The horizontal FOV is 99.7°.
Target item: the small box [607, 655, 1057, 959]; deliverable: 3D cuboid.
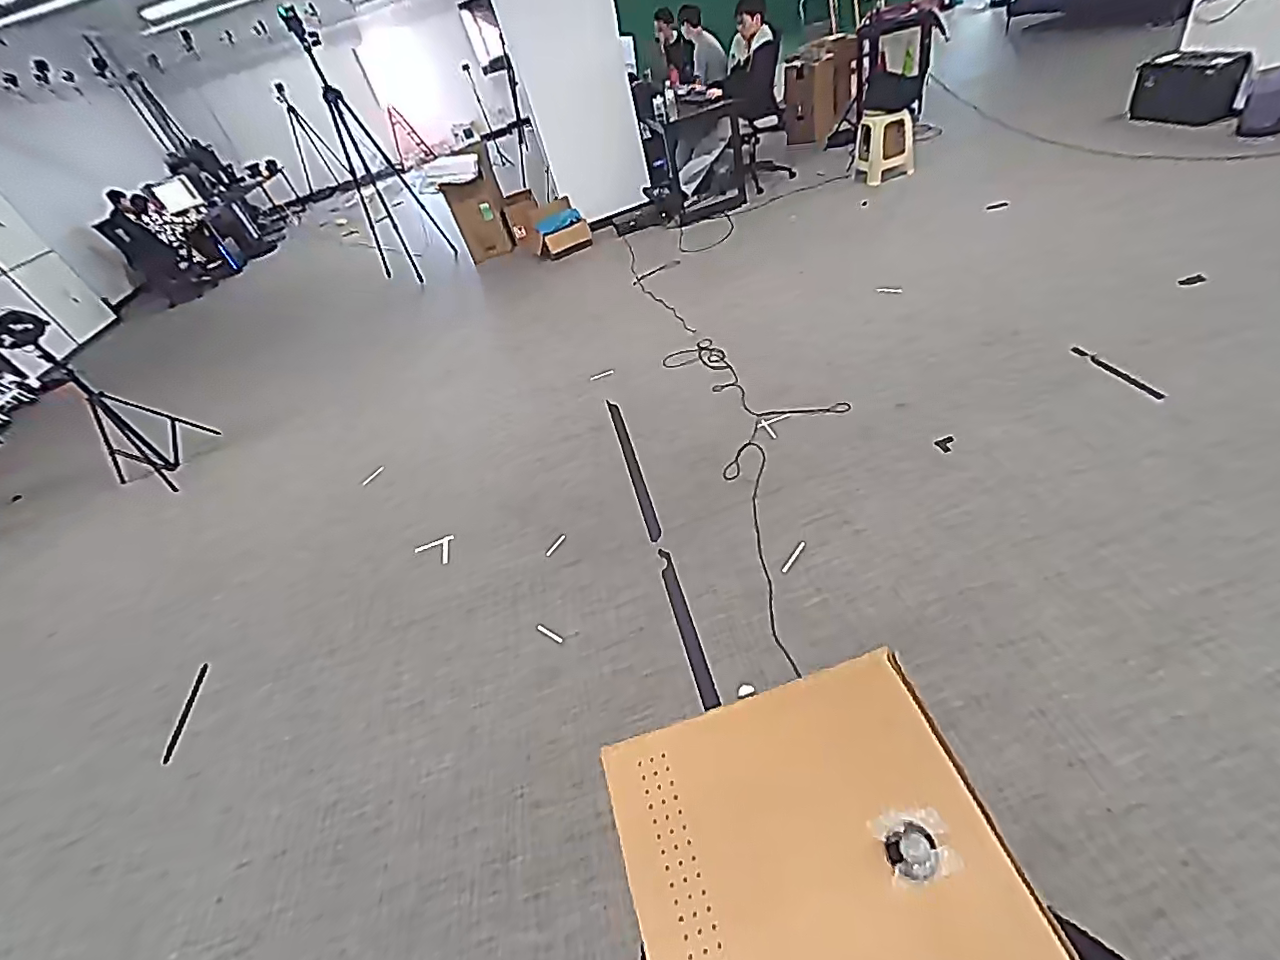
[{"bbox_3d":[0.088,0.233,0.309,0.176,0.168,0.179,-18,53,-2],"label":"small box"}]
